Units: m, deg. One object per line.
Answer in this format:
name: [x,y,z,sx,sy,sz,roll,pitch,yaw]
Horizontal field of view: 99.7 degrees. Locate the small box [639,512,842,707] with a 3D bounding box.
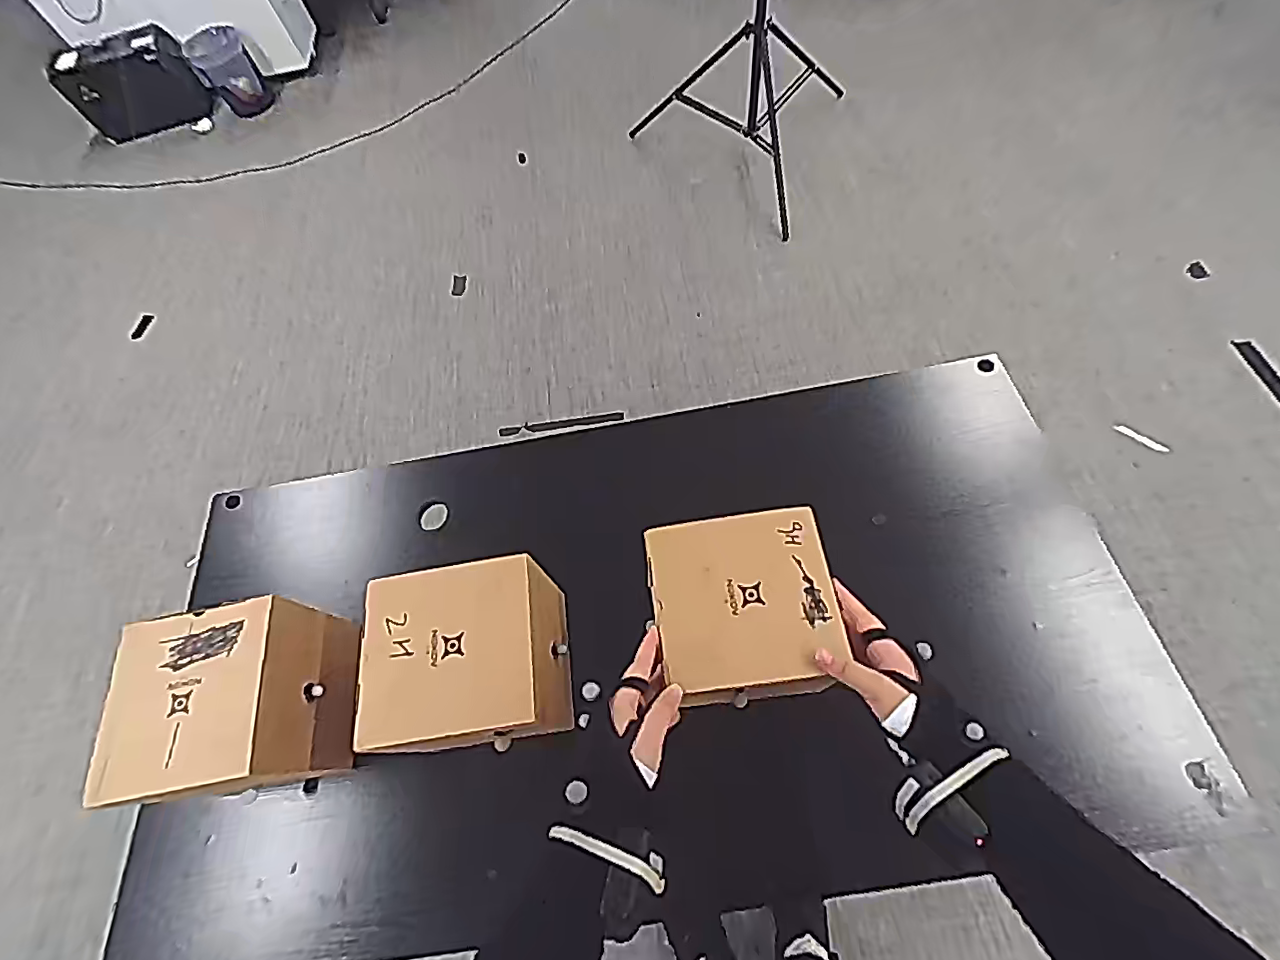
small box: [0.102,0.152,0.601,0.179,0.176,0.168,-9,63,4]

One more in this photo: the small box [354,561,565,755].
small box: [-0.186,0.205,0.609,0.179,0.176,0.168,-10,63,1]

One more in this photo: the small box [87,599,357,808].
small box: [-0.448,0.254,0.617,0.168,0.176,0.179,-12,64,1]
